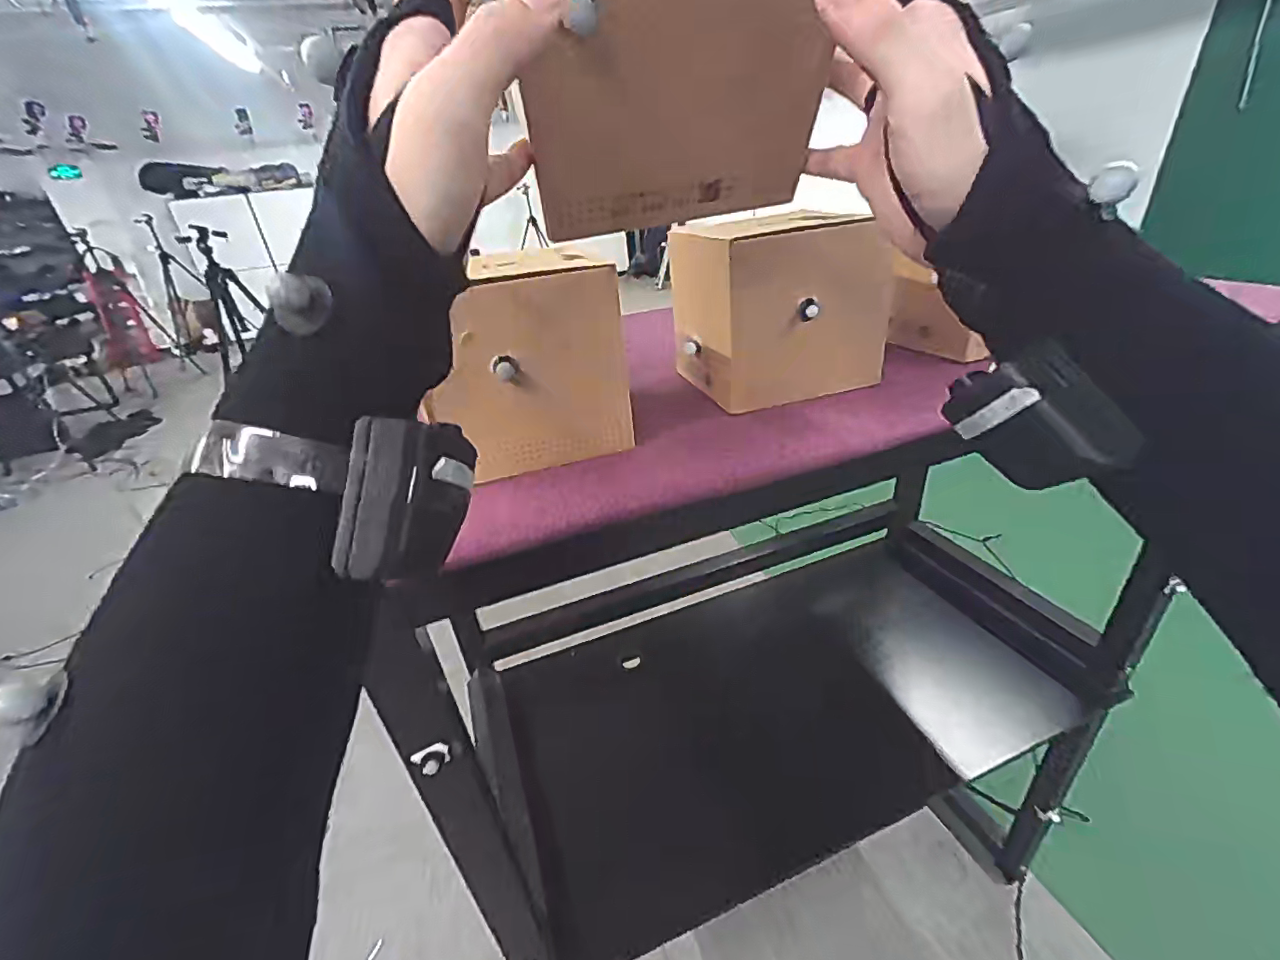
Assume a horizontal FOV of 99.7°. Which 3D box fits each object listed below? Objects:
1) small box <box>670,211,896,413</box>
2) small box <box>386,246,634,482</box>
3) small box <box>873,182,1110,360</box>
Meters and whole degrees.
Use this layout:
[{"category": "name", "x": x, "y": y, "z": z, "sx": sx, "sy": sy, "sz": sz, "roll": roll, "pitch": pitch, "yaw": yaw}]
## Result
[{"category": "small box", "x": 0.143, "y": -0.189, "z": 0.592, "sx": 0.179, "sy": 0.176, "sz": 0.168, "roll": -14, "pitch": 29, "yaw": -11}, {"category": "small box", "x": -0.117, "y": -0.115, "z": 0.515, "sx": 0.179, "sy": 0.176, "sz": 0.168, "roll": -14, "pitch": 31, "yaw": -13}, {"category": "small box", "x": 0.403, "y": -0.254, "z": 0.657, "sx": 0.179, "sy": 0.176, "sz": 0.168, "roll": -15, "pitch": 30, "yaw": -15}]
